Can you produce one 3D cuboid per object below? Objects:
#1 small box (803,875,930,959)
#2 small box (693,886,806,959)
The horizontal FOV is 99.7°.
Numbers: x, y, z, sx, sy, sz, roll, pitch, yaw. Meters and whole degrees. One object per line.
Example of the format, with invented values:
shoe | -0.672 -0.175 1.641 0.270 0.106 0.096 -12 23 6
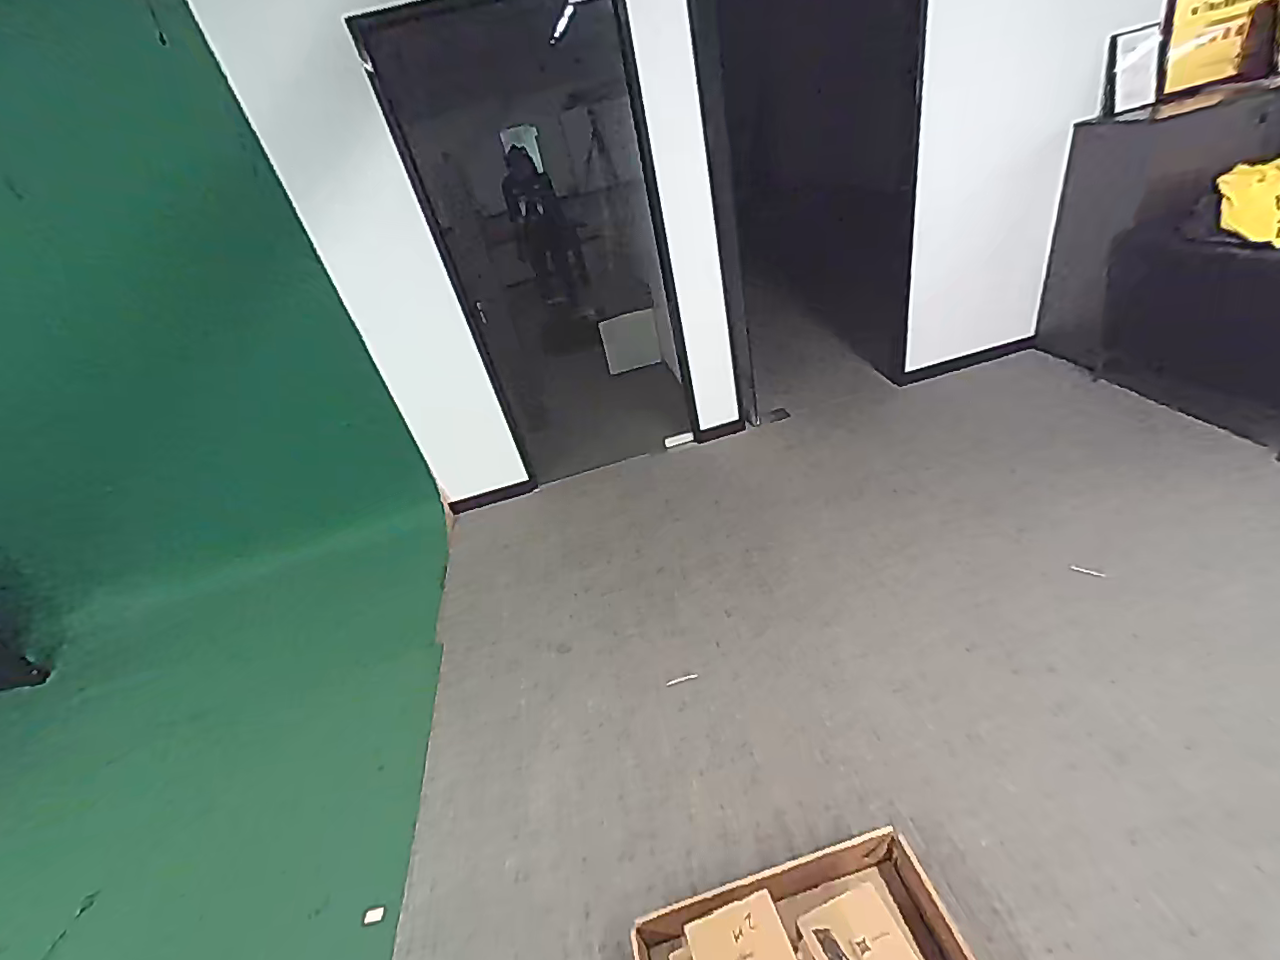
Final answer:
small box | 0.445 0.932 1.062 0.179 0.176 0.168 -21 35 -8
small box | 0.208 0.871 0.953 0.168 0.176 0.179 -18 35 -8
